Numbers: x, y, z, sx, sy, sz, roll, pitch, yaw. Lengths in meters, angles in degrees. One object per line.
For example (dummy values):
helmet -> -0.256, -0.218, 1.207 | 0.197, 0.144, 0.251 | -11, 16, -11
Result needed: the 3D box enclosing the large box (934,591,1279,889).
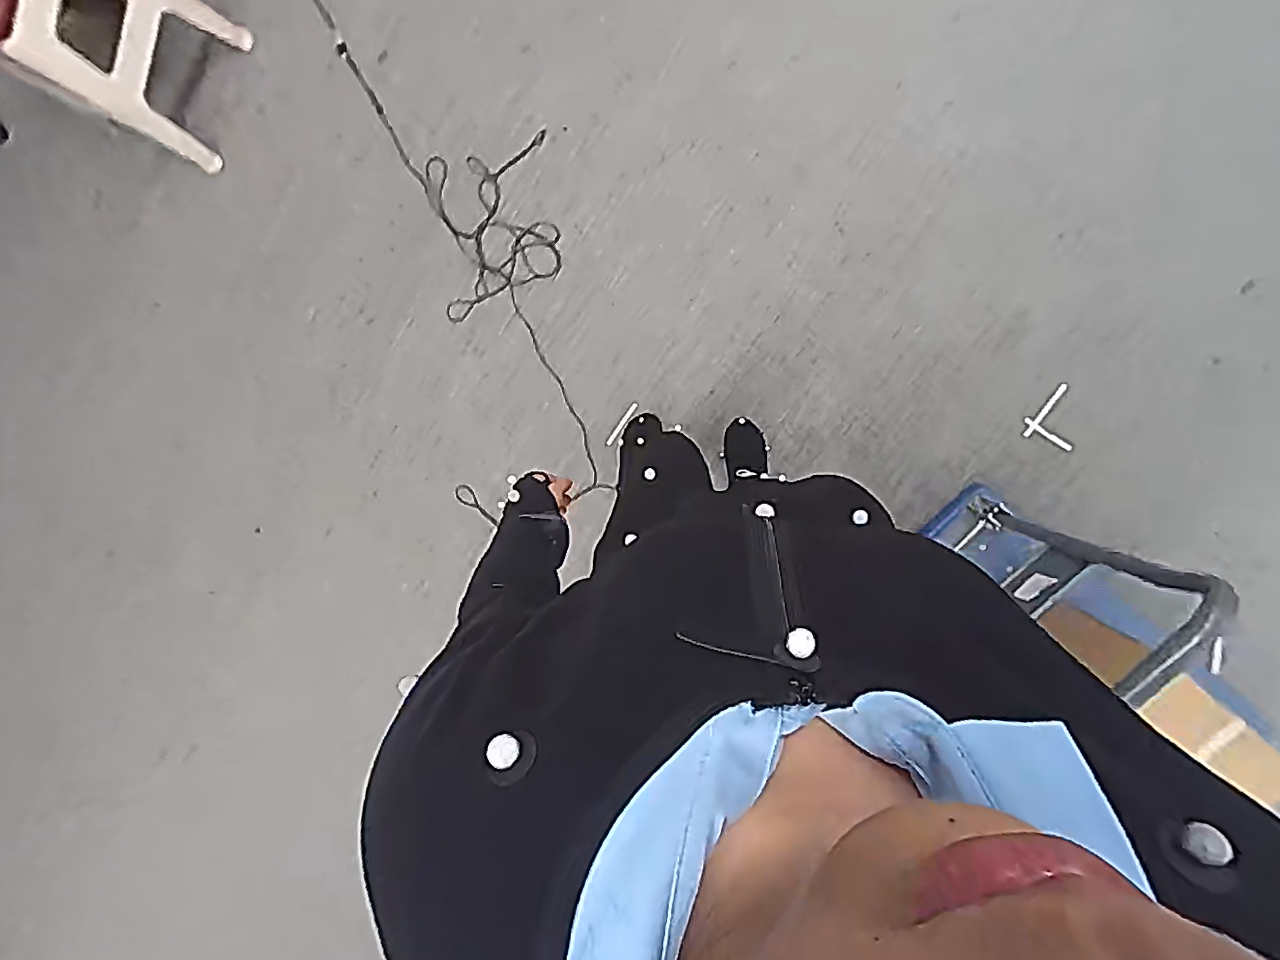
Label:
large box -> 0.931, 0.515, 1.140 | 0.320, 0.320, 0.408 | 40, 99, 0
